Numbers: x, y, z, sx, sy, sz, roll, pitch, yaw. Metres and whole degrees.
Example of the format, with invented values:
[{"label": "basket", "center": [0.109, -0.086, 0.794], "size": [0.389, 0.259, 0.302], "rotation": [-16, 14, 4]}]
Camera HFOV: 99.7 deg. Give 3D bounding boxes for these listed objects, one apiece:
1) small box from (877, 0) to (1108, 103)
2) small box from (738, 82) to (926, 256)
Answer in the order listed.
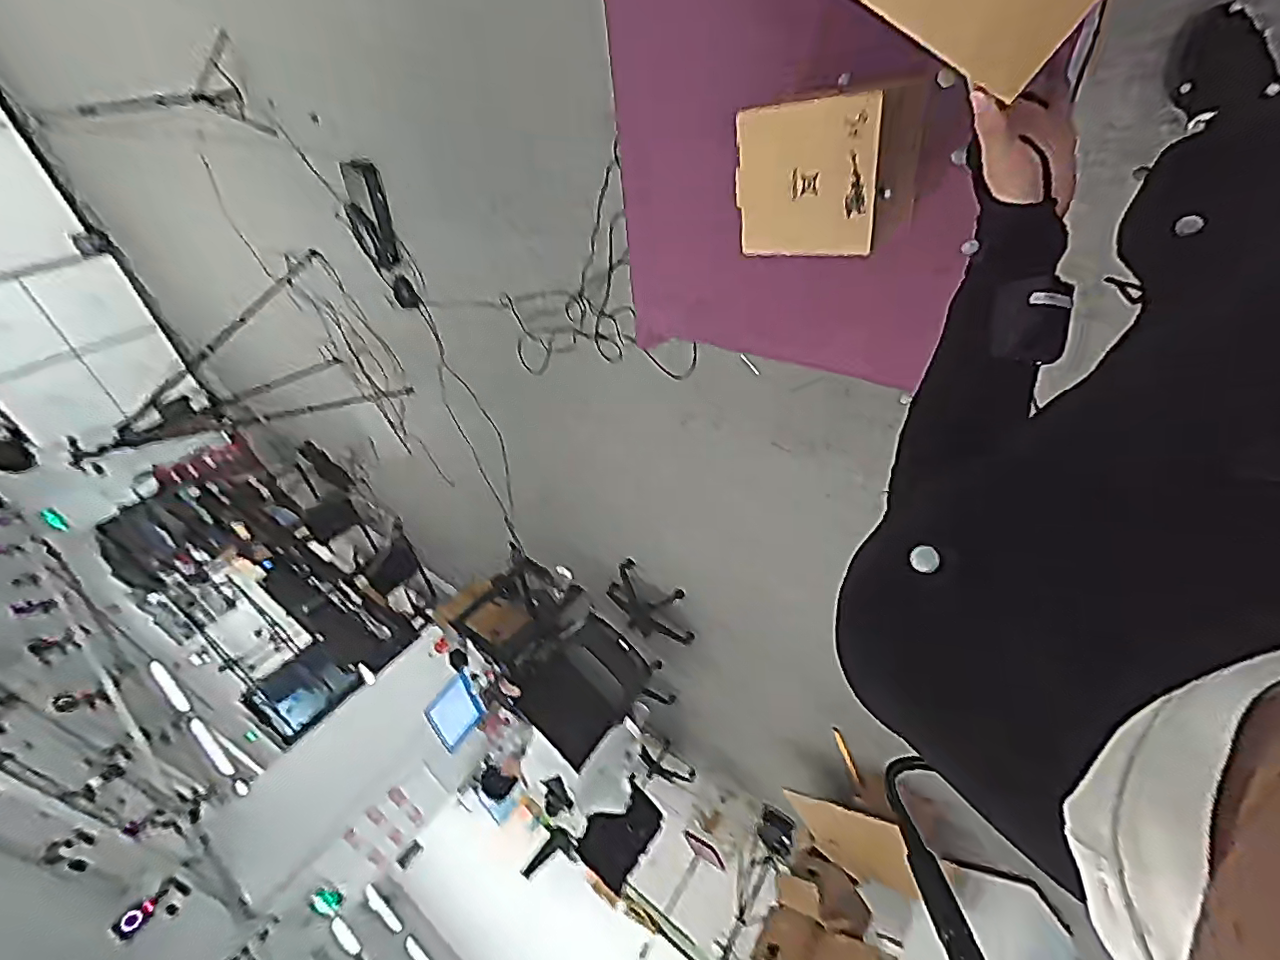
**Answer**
[{"label": "small box", "center": [0.260, -0.403, 0.359], "size": [0.179, 0.176, 0.168], "rotation": [37, 143, -1]}, {"label": "small box", "center": [0.250, -0.405, 0.712], "size": [0.179, 0.176, 0.168], "rotation": [17, 134, 35]}]
